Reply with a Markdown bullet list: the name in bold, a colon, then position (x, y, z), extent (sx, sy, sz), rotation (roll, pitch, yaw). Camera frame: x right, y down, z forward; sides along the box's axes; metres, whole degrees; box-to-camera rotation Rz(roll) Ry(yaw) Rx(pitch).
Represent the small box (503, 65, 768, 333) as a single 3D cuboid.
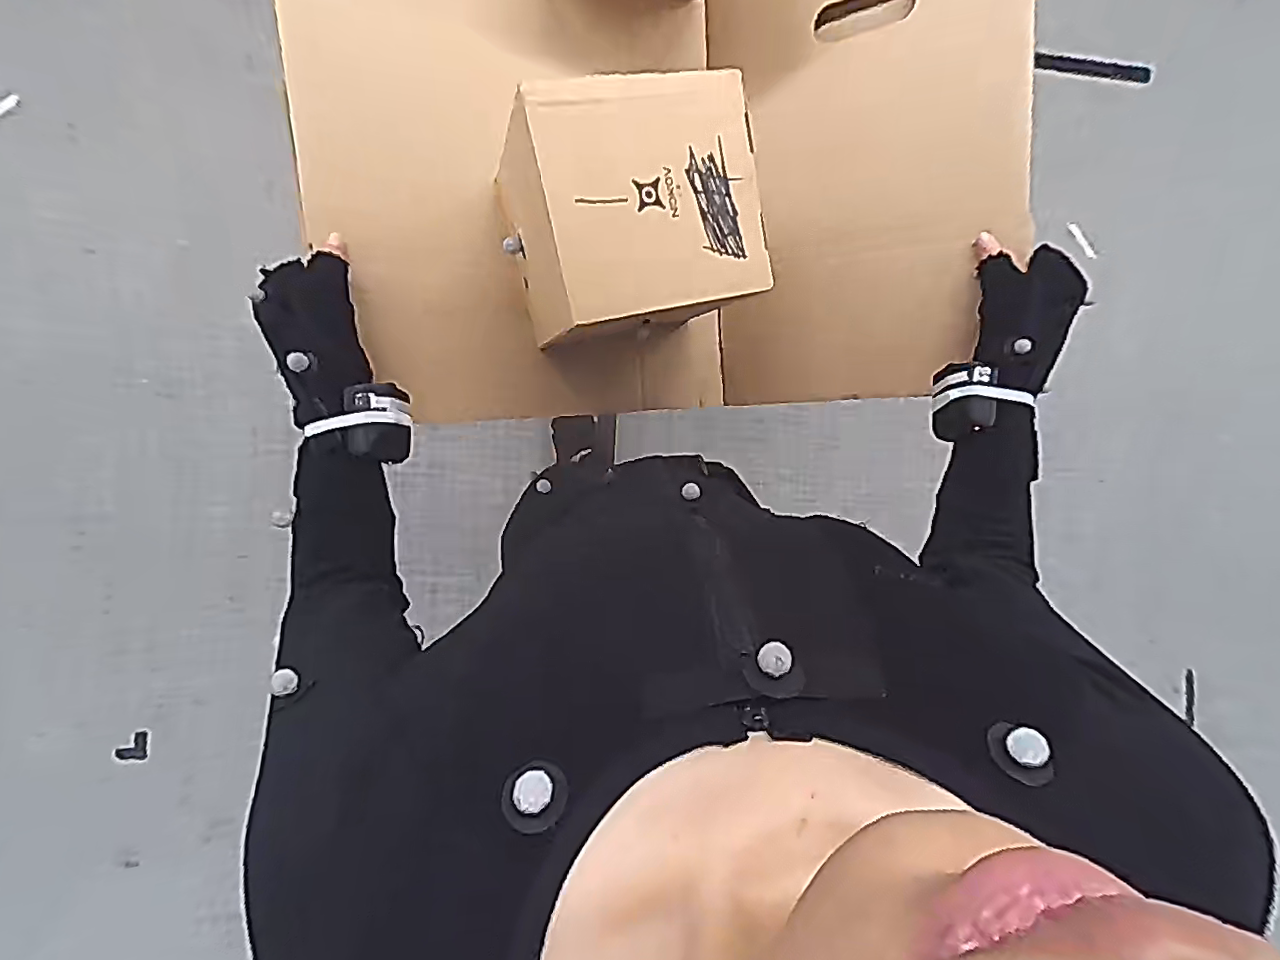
- **small box**: position (-0.013, -0.236, 0.488), extent (0.179, 0.176, 0.168), rotation (-15, 102, -17)
